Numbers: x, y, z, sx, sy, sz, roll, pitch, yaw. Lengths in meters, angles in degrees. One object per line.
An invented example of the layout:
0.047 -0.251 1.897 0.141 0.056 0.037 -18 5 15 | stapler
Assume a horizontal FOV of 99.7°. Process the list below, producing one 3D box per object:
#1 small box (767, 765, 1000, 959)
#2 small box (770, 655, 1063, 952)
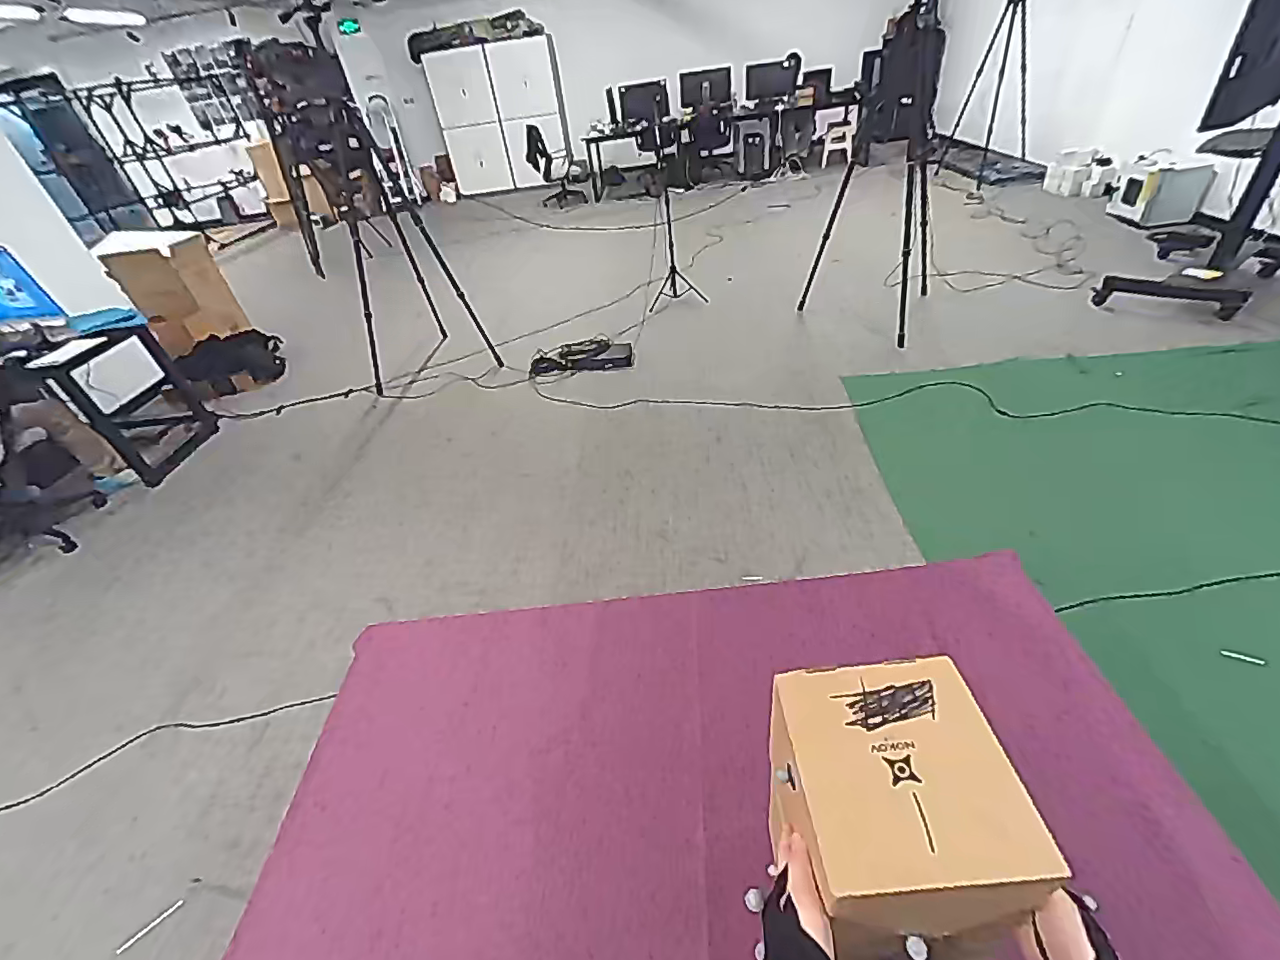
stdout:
0.238 0.421 0.581 0.179 0.176 0.168 -6 38 5 | small box
0.216 0.287 0.487 0.168 0.176 0.179 -8 38 3 | small box
